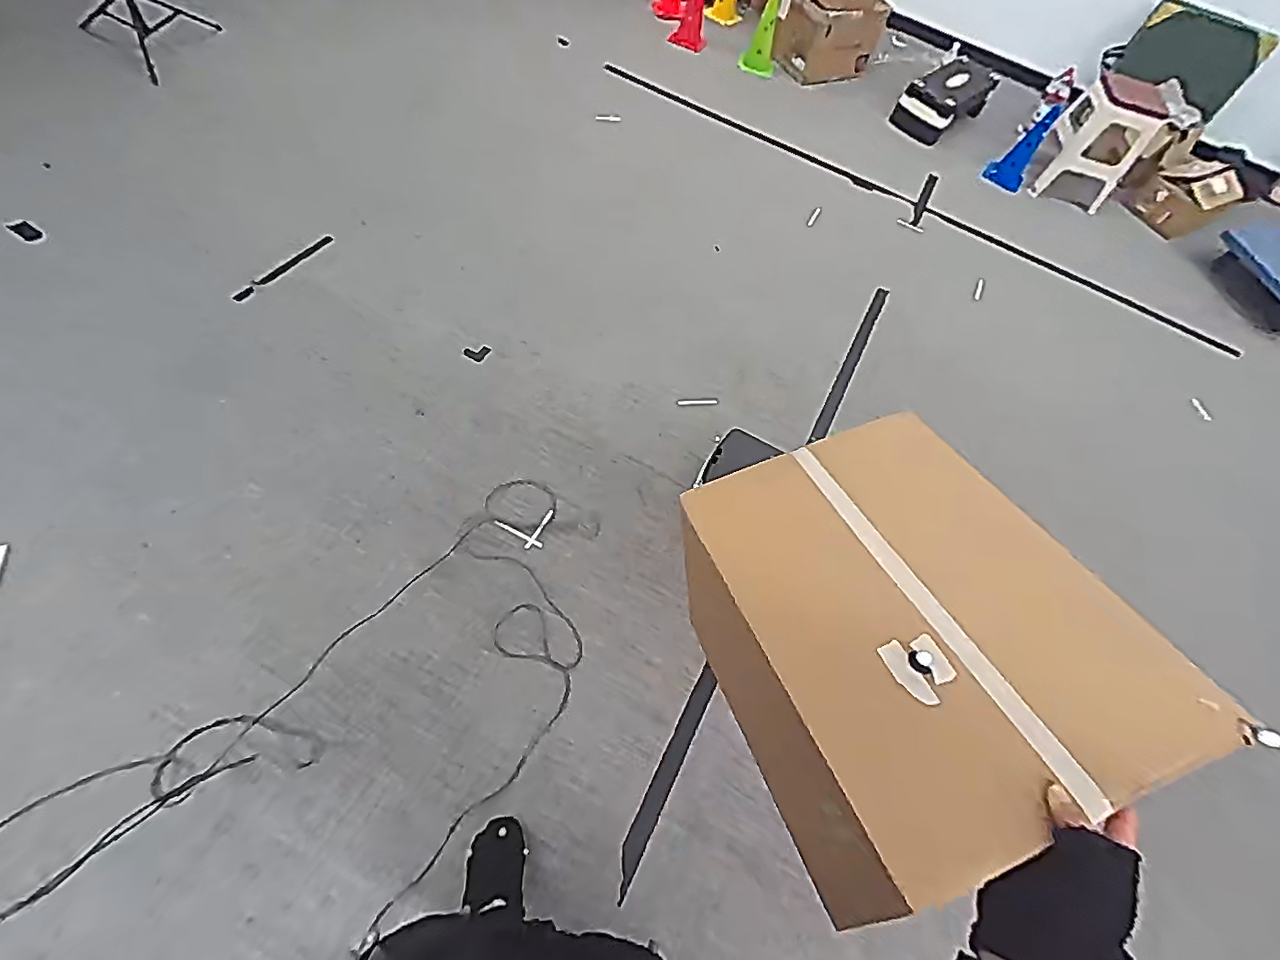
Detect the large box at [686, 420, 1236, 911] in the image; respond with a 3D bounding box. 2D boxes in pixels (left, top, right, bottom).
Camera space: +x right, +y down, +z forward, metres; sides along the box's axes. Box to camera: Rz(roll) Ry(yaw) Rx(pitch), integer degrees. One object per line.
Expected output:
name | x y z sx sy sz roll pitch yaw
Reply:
large box | 0.276 0.203 0.640 0.320 0.320 0.408 -20 50 -8
